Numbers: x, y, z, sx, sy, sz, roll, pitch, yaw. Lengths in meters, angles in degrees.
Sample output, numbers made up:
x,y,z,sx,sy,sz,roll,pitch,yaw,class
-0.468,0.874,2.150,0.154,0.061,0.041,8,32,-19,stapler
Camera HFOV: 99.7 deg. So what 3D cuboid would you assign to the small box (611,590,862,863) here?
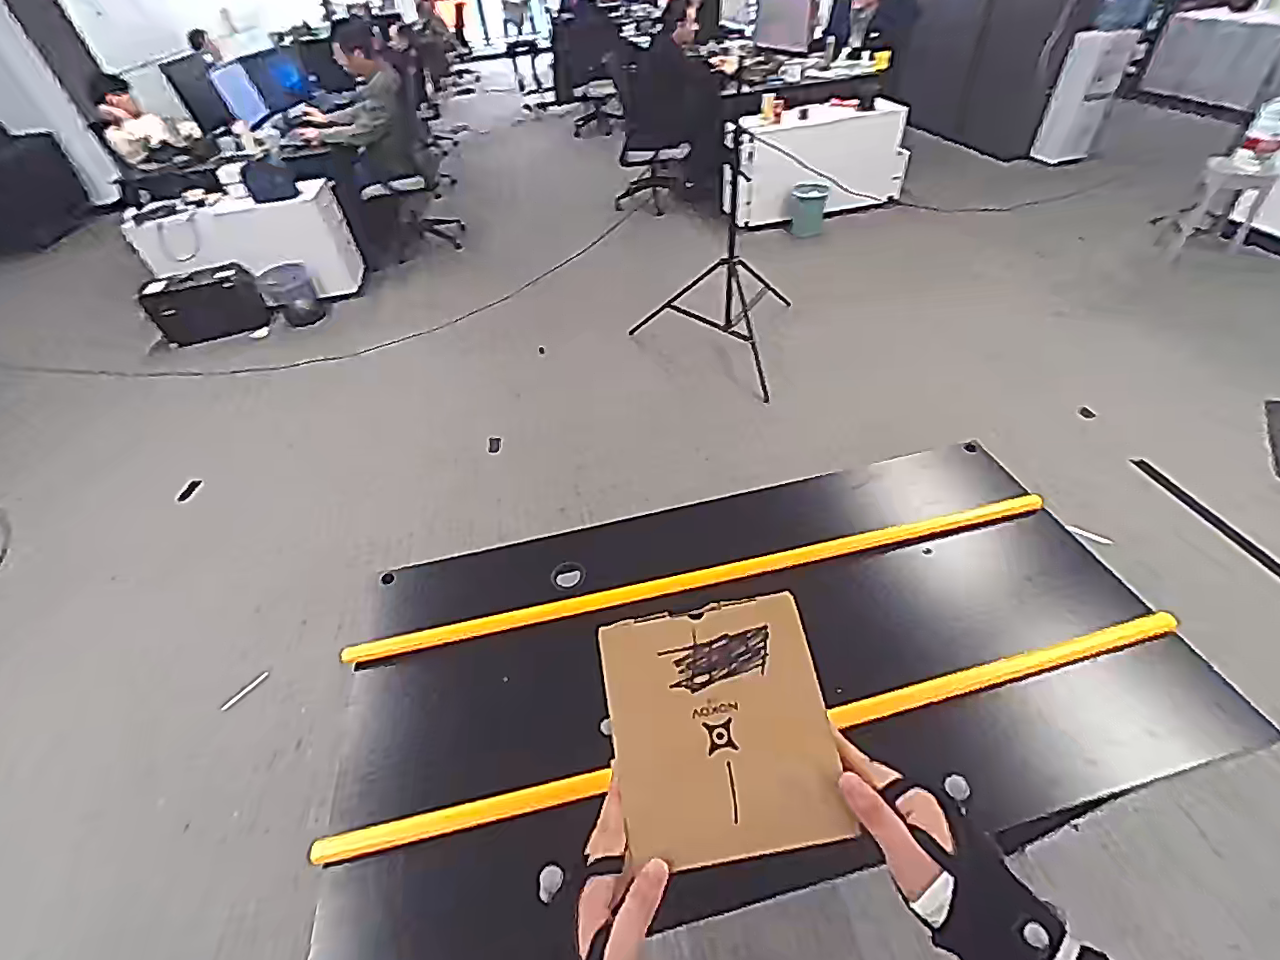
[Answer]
x,y,z,sx,sy,sz,roll,pitch,yaw,class
0.071,0.215,0.491,0.168,0.176,0.179,-10,66,0,small box
